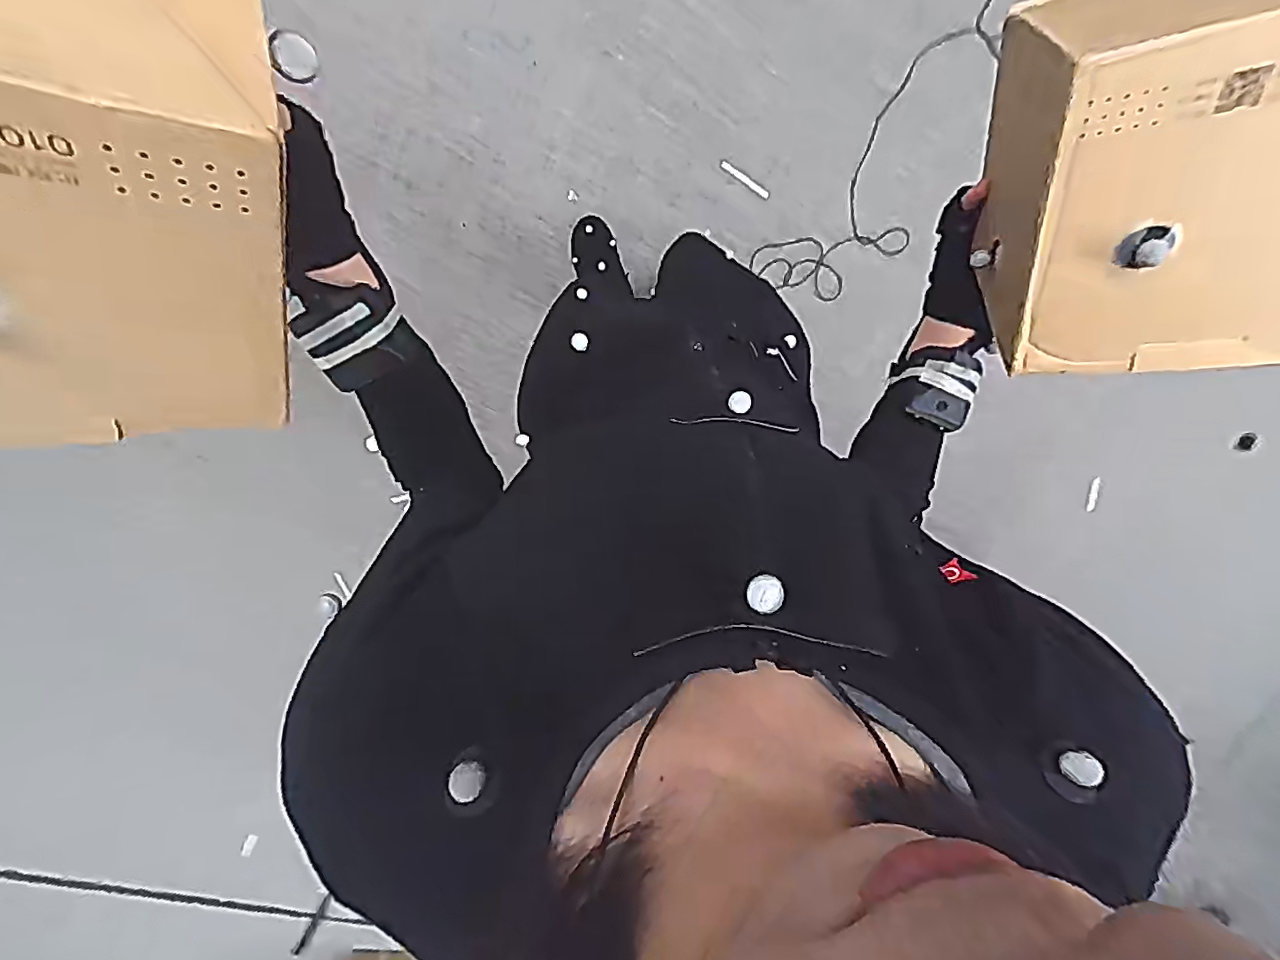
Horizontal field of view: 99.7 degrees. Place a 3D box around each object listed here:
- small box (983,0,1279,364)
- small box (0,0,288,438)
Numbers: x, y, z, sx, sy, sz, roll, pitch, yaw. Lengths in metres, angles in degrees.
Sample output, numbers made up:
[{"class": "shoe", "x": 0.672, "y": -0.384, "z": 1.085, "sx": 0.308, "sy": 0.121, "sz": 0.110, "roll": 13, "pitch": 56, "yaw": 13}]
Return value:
[{"class": "small box", "x": 0.303, "y": -0.187, "z": 0.291, "sx": 0.168, "sy": 0.179, "sz": 0.176, "roll": 0, "pitch": 135, "yaw": 22}, {"class": "small box", "x": -0.220, "y": -0.127, "z": 0.167, "sx": 0.168, "sy": 0.179, "sz": 0.176, "roll": -7, "pitch": 160, "yaw": -34}]
